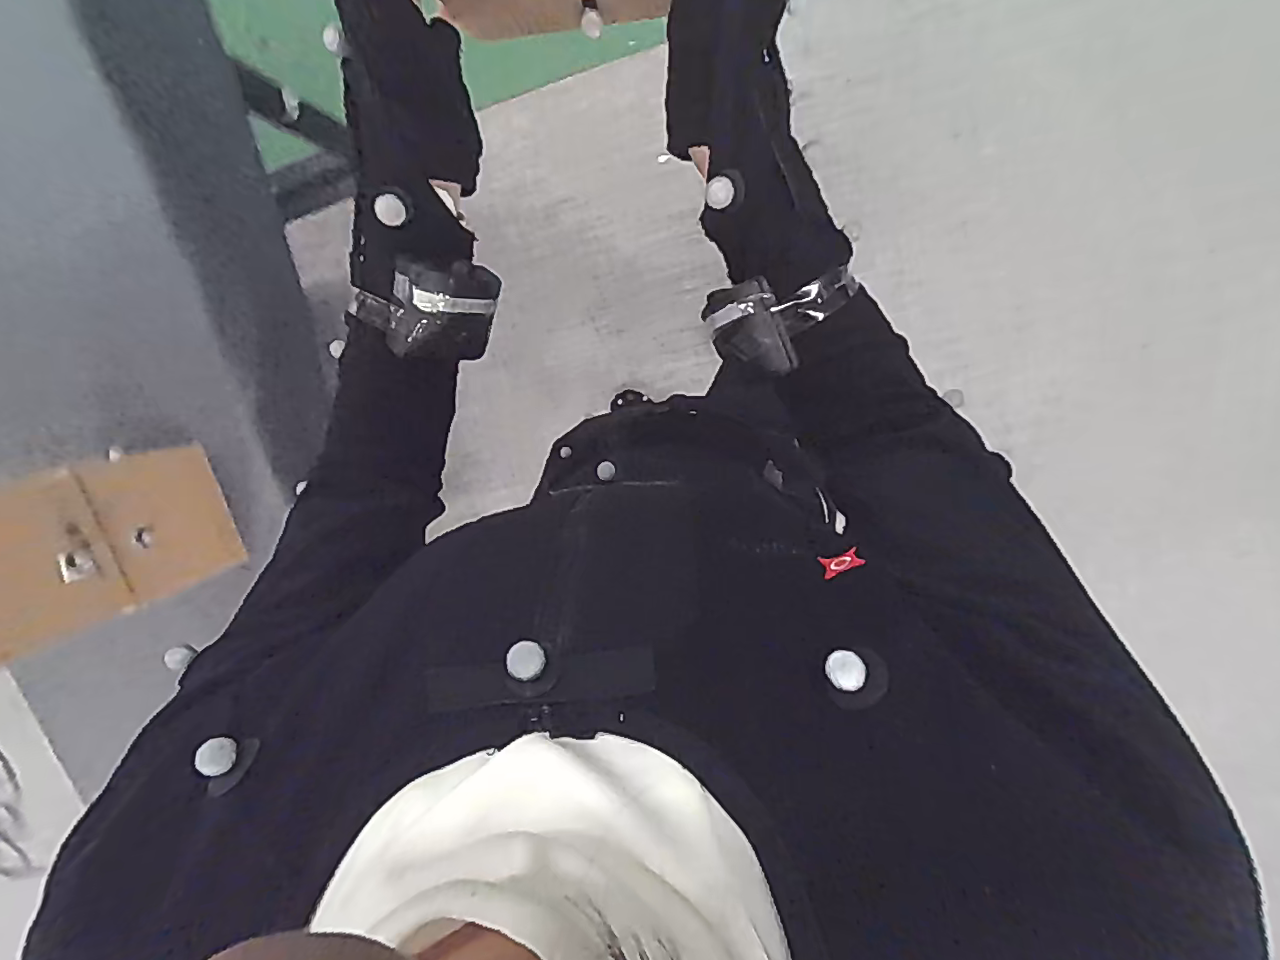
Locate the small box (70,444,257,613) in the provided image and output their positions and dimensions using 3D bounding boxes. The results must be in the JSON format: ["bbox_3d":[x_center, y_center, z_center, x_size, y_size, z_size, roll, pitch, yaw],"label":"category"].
[{"bbox_3d":[-0.669,0.064,0.725,0.168,0.176,0.179,-13,101,9],"label":"small box"}]

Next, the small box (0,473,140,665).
[{"bbox_3d":[-0.689,0.105,0.553,0.179,0.176,0.168,-15,103,9],"label":"small box"}]
